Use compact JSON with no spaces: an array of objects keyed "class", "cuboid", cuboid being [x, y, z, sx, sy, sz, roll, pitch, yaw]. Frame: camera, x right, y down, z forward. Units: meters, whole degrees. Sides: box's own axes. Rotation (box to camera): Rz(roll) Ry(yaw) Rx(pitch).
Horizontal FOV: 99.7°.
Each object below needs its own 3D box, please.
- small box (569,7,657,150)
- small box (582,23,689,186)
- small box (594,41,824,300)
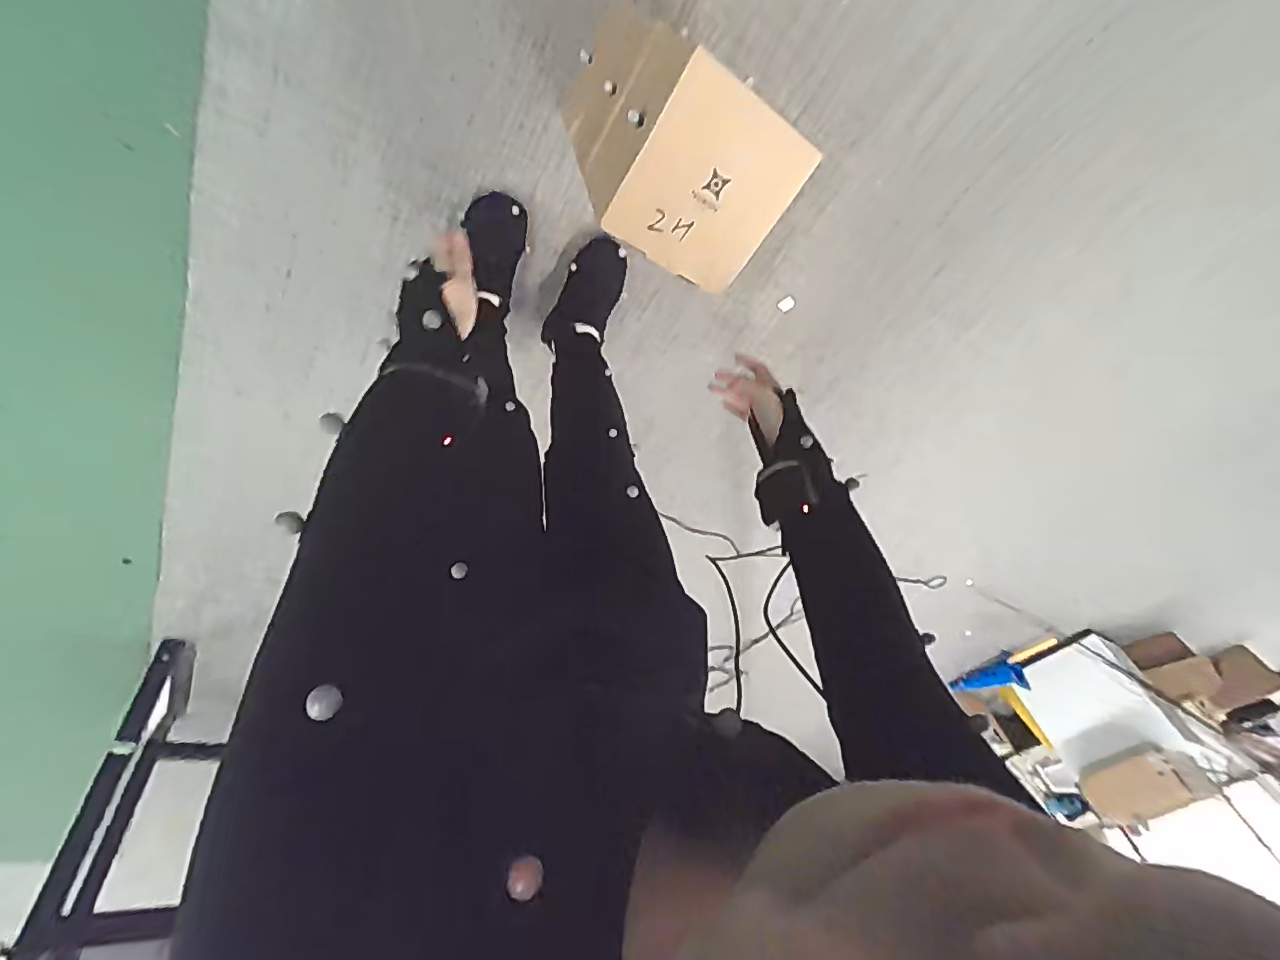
[{"class":"small box","cuboid":[0.003,-0.570,0.829,0.168,0.176,0.179,22,125,-30]},{"class":"small box","cuboid":[0.032,-0.458,0.715,0.168,0.176,0.179,20,127,-27]},{"class":"small box","cuboid":[0.060,-0.343,0.600,0.168,0.176,0.179,21,125,-27]}]
